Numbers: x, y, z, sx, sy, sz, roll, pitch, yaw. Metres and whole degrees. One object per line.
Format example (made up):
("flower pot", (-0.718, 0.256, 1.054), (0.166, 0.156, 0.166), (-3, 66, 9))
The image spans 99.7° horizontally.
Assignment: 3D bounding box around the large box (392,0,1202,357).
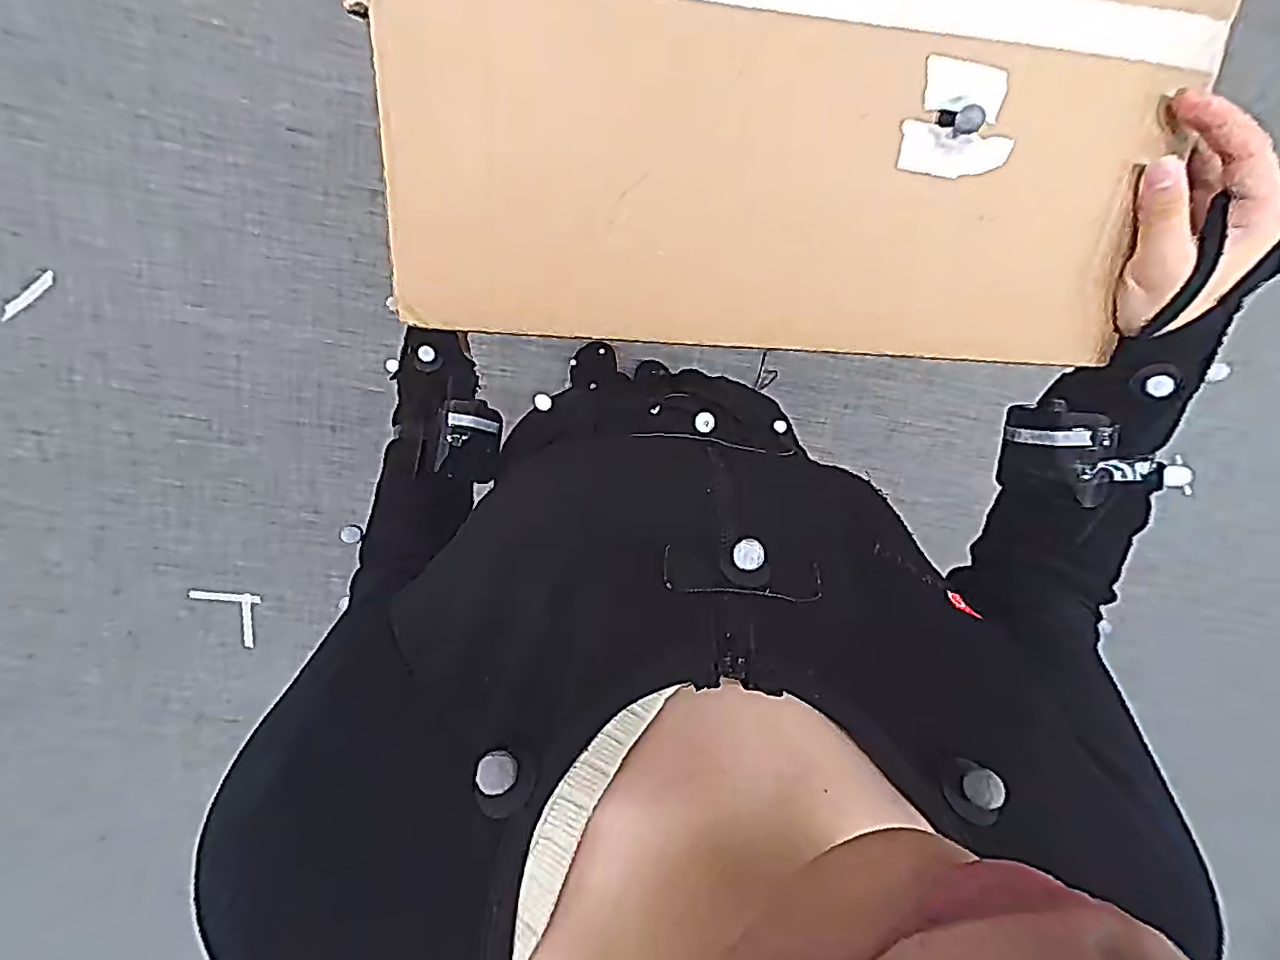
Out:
("large box", (0.065, -0.269, 0.395), (0.408, 0.320, 0.320), (0, 110, -10))
